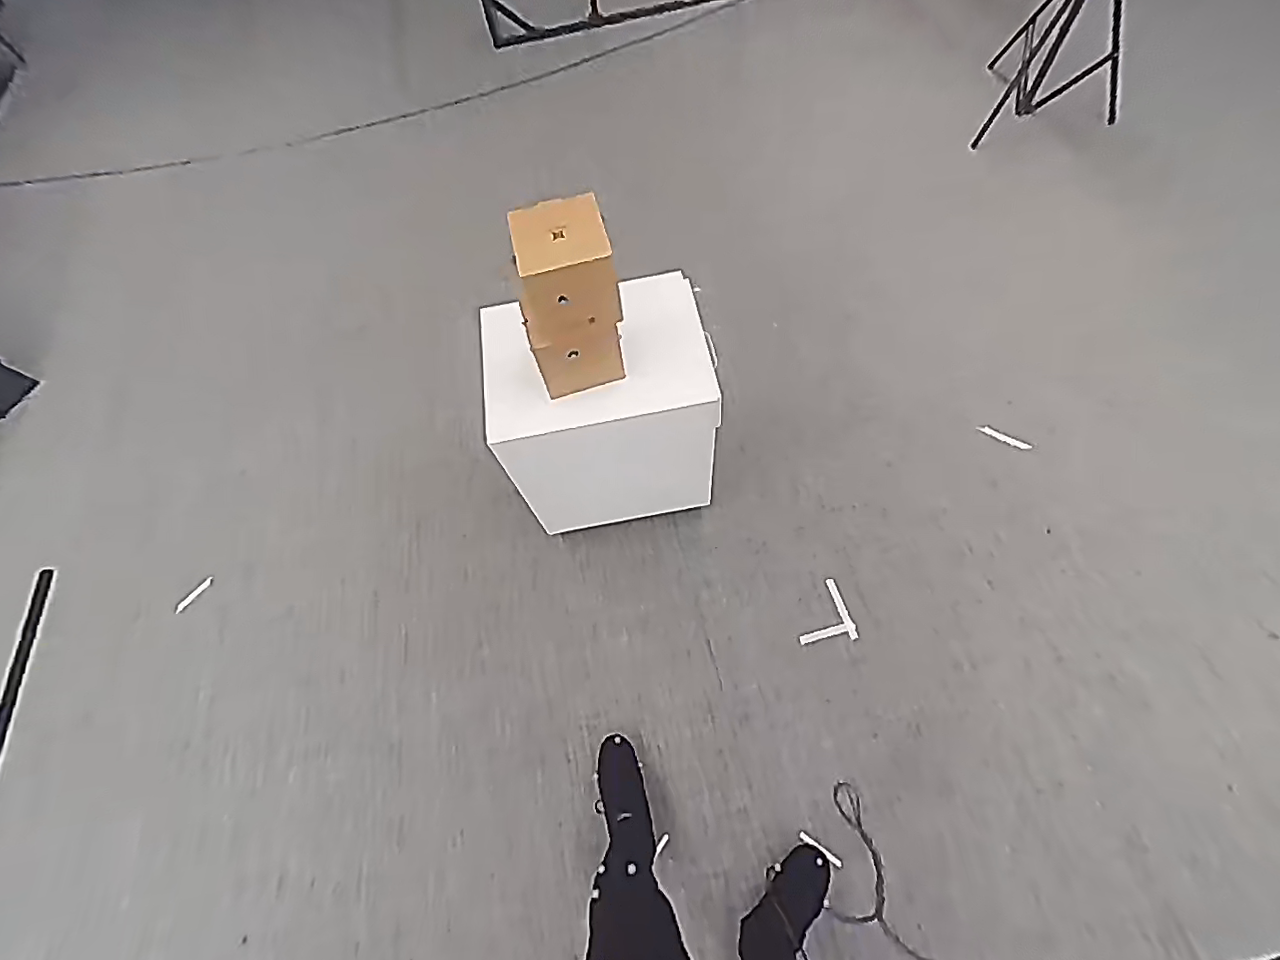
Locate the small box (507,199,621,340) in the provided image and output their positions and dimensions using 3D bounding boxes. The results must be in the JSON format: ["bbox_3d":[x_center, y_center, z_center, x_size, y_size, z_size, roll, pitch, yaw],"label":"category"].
[{"bbox_3d":[-0.140,-0.390,1.030,0.168,0.176,0.179,-15,62,-2],"label":"small box"}]

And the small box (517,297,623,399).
[{"bbox_3d":[-0.146,-0.299,1.168,0.179,0.176,0.168,-17,63,-4],"label":"small box"}]
